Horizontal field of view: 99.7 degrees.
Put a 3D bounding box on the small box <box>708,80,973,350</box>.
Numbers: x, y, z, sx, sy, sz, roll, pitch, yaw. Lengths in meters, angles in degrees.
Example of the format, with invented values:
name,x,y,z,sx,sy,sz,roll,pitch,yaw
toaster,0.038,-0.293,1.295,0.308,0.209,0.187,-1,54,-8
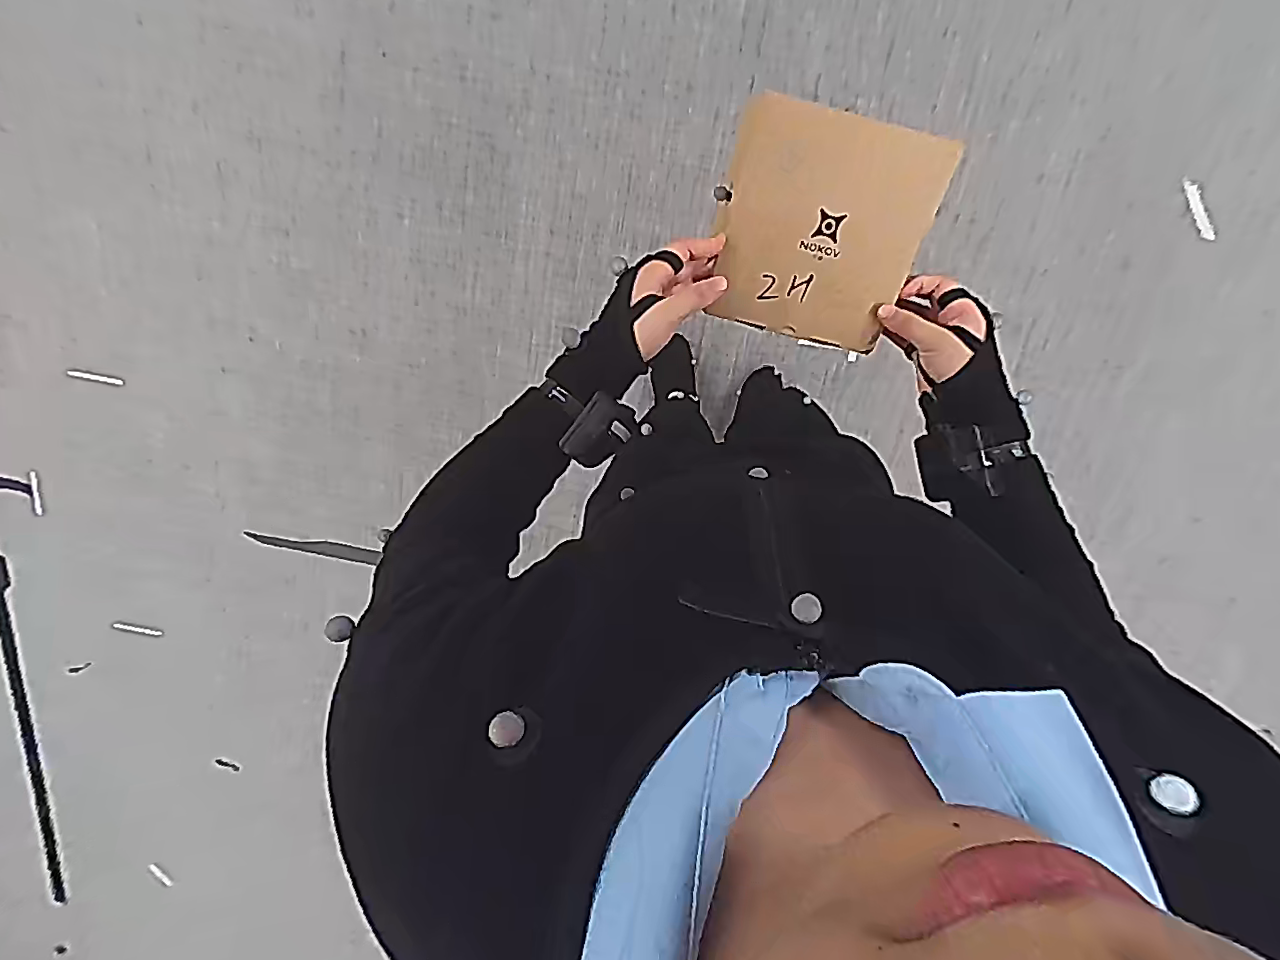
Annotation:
name,x,y,z,sx,sy,sz,roll,pitch,yaw
small box,0.167,-0.250,0.525,0.168,0.176,0.179,14,118,-3
